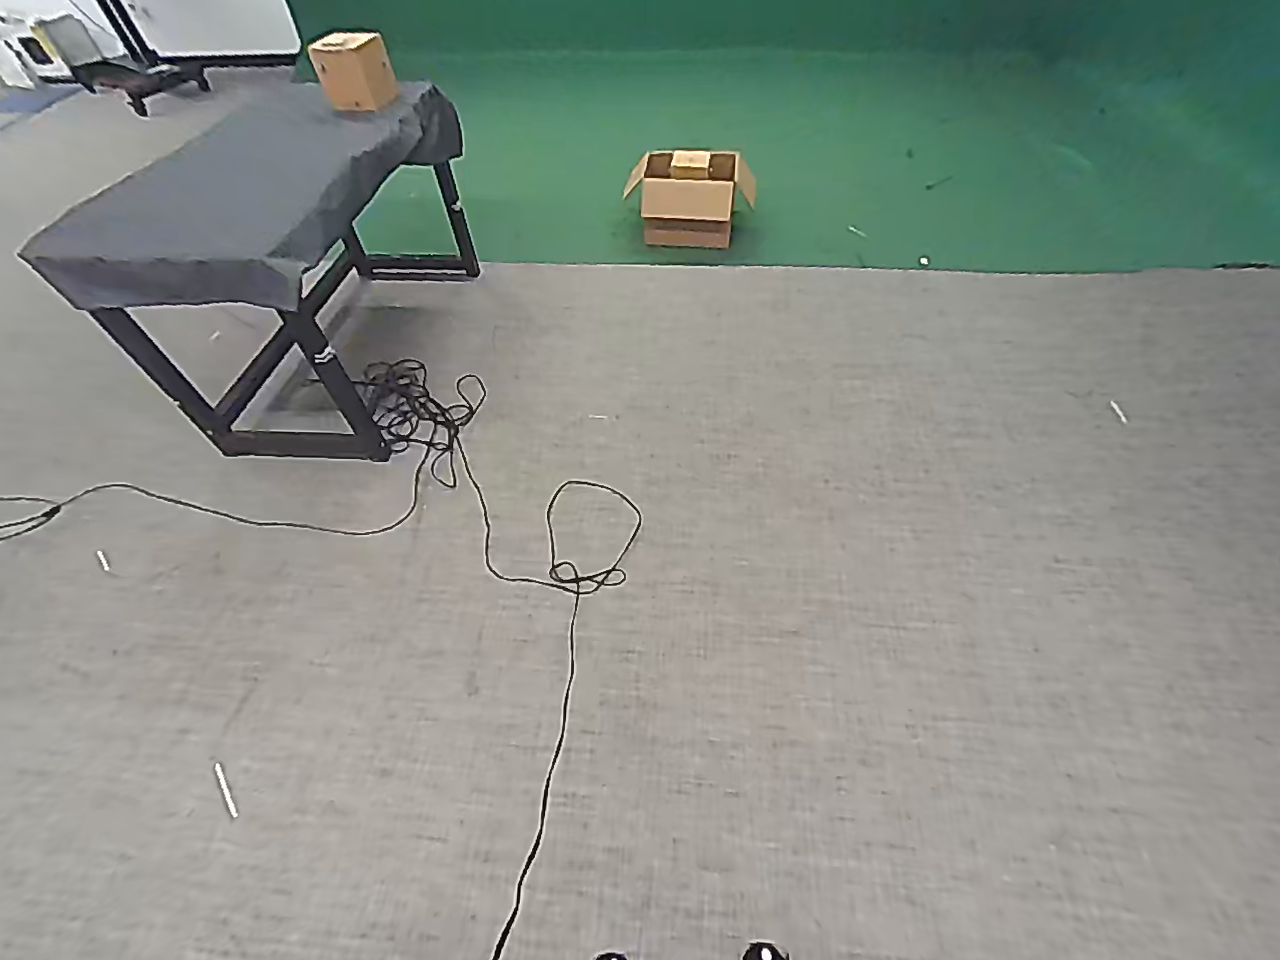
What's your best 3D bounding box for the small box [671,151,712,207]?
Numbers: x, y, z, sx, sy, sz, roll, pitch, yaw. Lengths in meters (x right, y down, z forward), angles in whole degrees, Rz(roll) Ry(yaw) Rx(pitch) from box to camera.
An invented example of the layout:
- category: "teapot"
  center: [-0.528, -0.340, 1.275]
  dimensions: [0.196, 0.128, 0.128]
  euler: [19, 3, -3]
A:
- category: "small box"
  center: [0.232, -1.370, 2.459]
  dimensions: [0.168, 0.176, 0.179]
  euler: [6, 51, 6]
